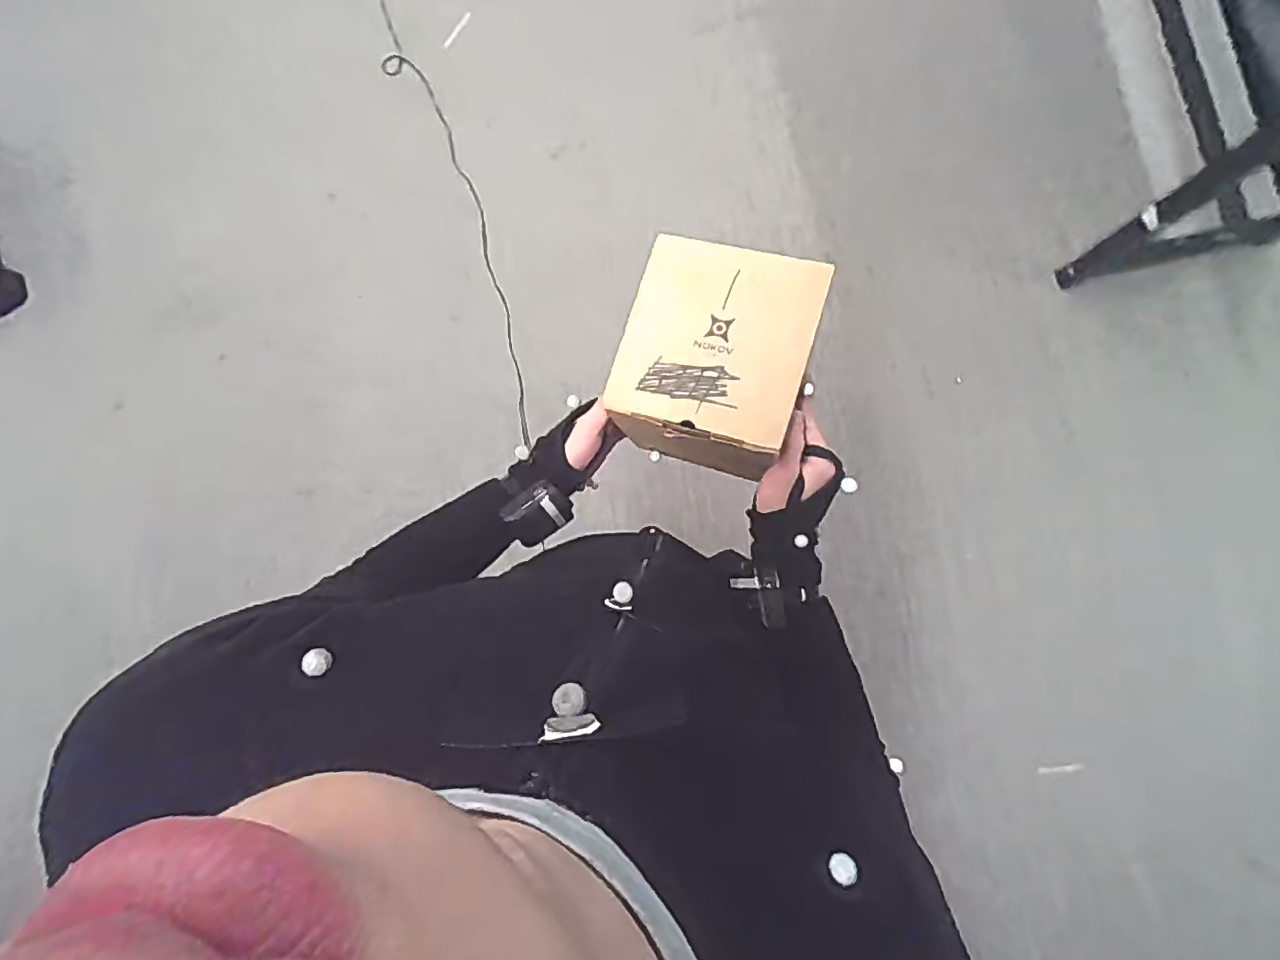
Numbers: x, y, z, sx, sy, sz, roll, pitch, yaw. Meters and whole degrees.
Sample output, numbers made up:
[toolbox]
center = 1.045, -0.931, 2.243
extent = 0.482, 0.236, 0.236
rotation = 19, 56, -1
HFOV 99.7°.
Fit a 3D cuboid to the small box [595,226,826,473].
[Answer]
[small box]
center = 0.076, -0.118, 0.548
extent = 0.168, 0.176, 0.179
rotation = 16, 83, 14
